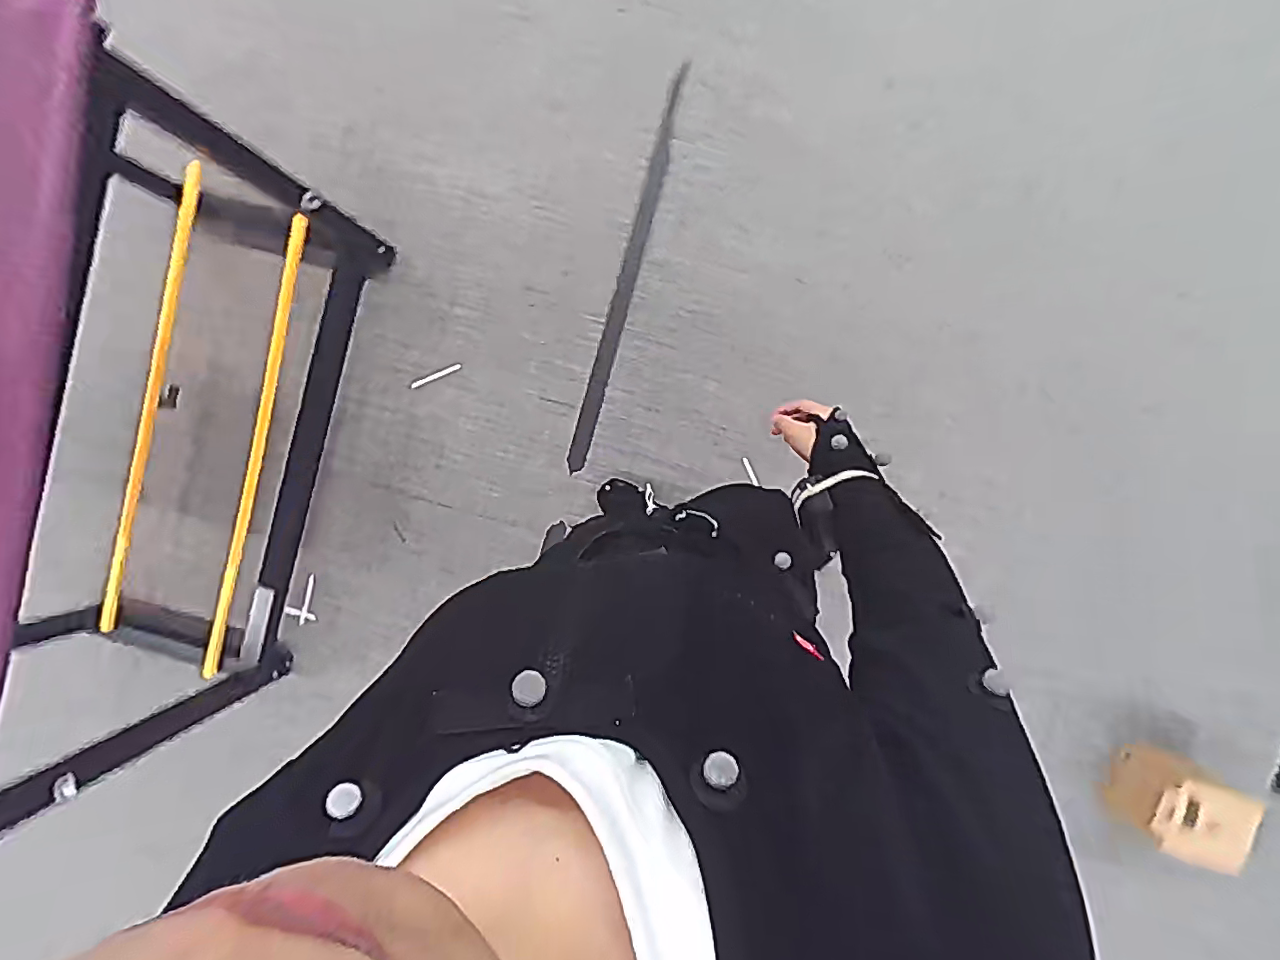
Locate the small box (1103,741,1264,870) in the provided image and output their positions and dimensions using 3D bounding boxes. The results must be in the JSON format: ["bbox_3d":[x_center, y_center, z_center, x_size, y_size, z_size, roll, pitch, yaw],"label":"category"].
[{"bbox_3d":[1.217,0.726,1.228,0.179,0.176,0.168,16,94,3],"label":"small box"}]
